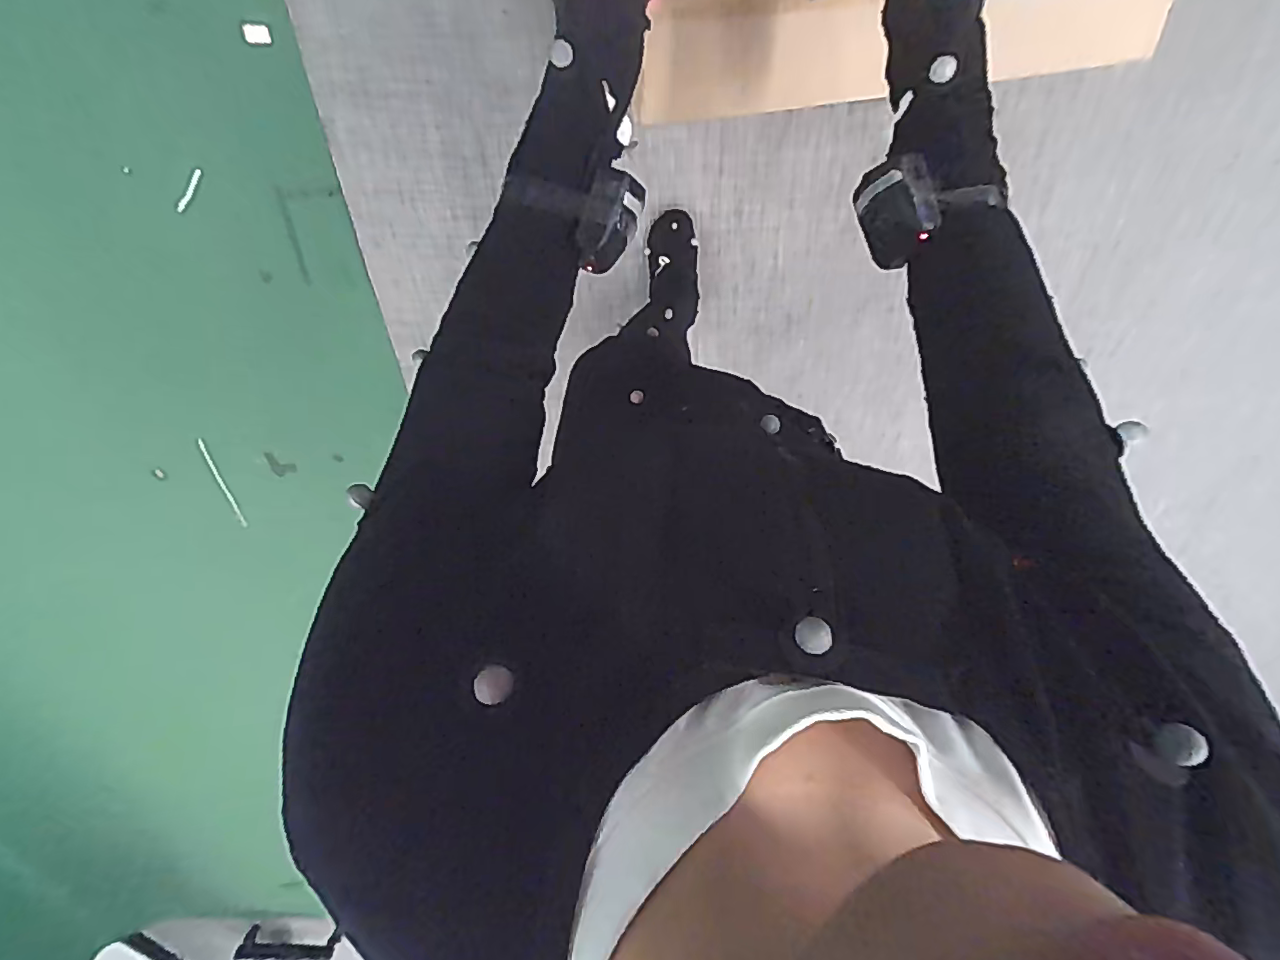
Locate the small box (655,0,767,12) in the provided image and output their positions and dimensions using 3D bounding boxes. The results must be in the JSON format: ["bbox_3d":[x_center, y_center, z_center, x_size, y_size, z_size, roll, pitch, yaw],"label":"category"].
[{"bbox_3d":[0.090,-0.487,0.417,0.179,0.176,0.168,-4,125,6],"label":"small box"}]
